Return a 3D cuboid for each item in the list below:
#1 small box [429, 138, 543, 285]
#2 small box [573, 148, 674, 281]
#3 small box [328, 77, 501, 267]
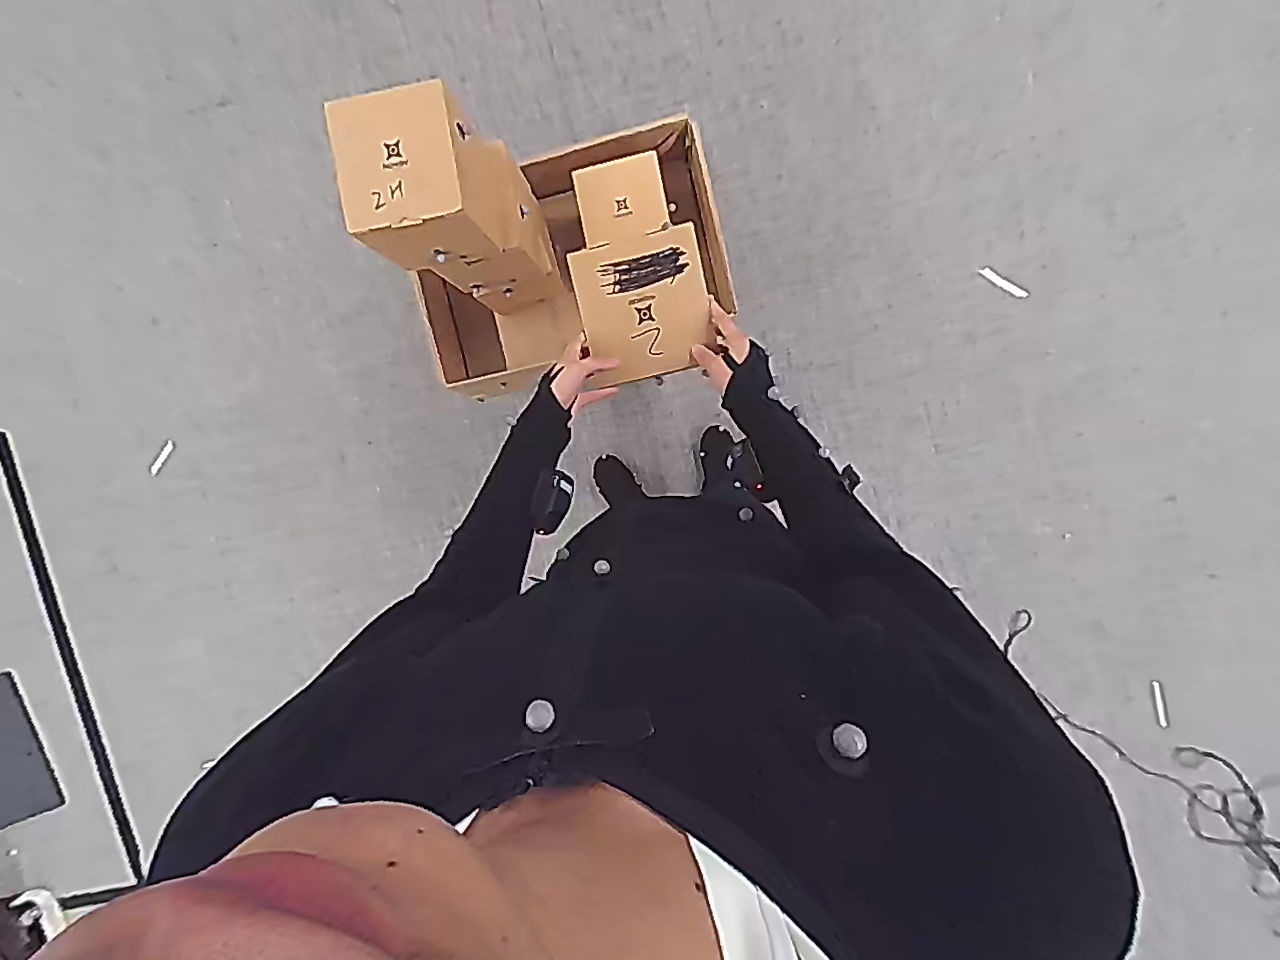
[{"bbox_3d":[-0.280,-0.460,0.959,0.168,0.176,0.179,-9,94,4],"label":"small box"},{"bbox_3d":[-0.028,-0.530,1.103,0.168,0.176,0.179,-12,95,5],"label":"small box"},{"bbox_3d":[-0.319,-0.439,0.798,0.168,0.176,0.179,-8,95,4],"label":"small box"}]
